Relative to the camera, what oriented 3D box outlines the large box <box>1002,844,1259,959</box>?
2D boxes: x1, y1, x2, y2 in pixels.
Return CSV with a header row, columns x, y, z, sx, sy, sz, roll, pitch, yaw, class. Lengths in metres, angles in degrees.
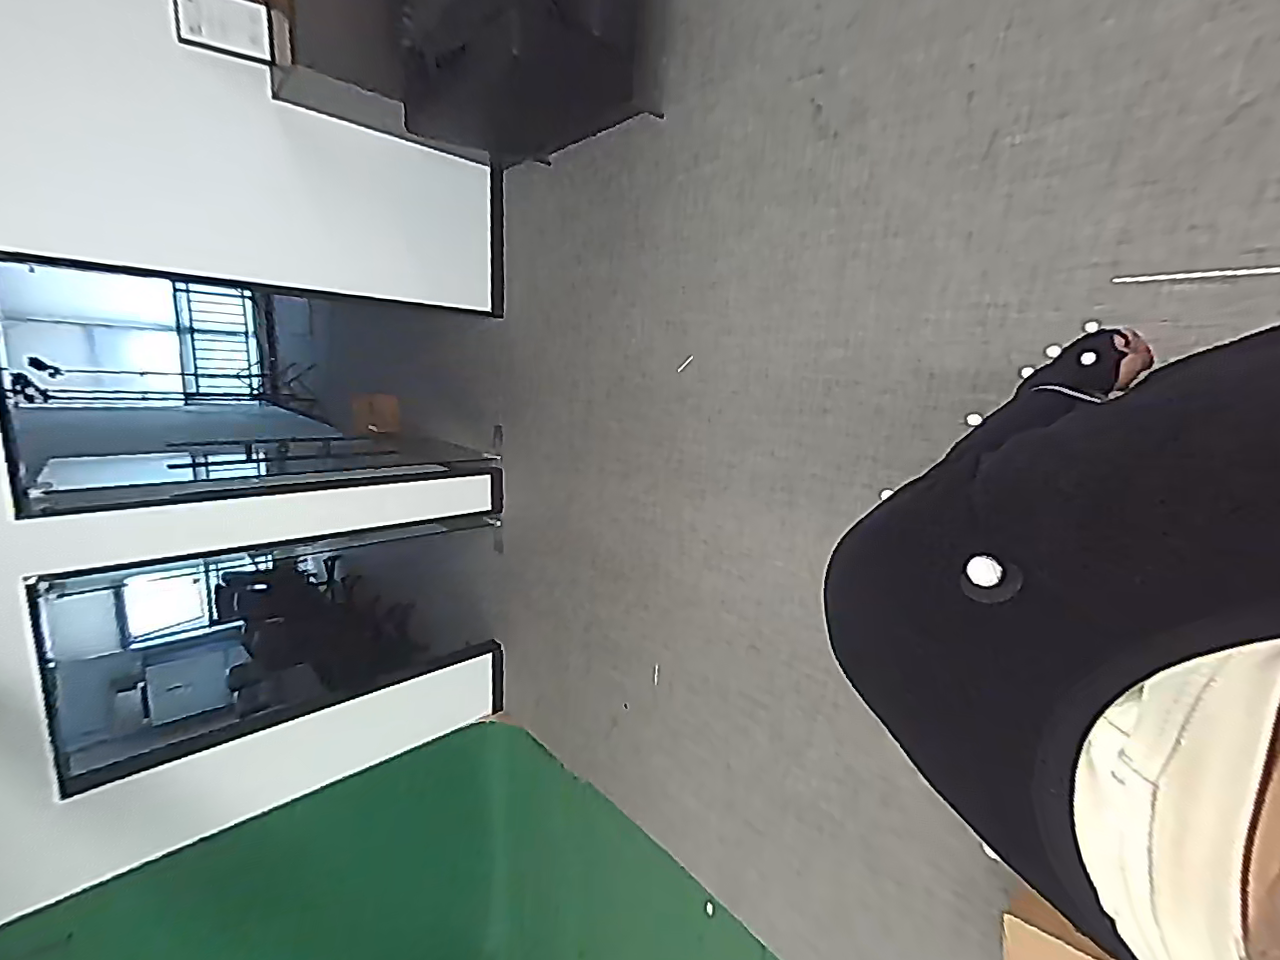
x,y,z,sx,sy,sz,roll,pitch,yaw,class
1.097,1.139,1.221,0.408,0.320,0.320,3,96,48,large box
